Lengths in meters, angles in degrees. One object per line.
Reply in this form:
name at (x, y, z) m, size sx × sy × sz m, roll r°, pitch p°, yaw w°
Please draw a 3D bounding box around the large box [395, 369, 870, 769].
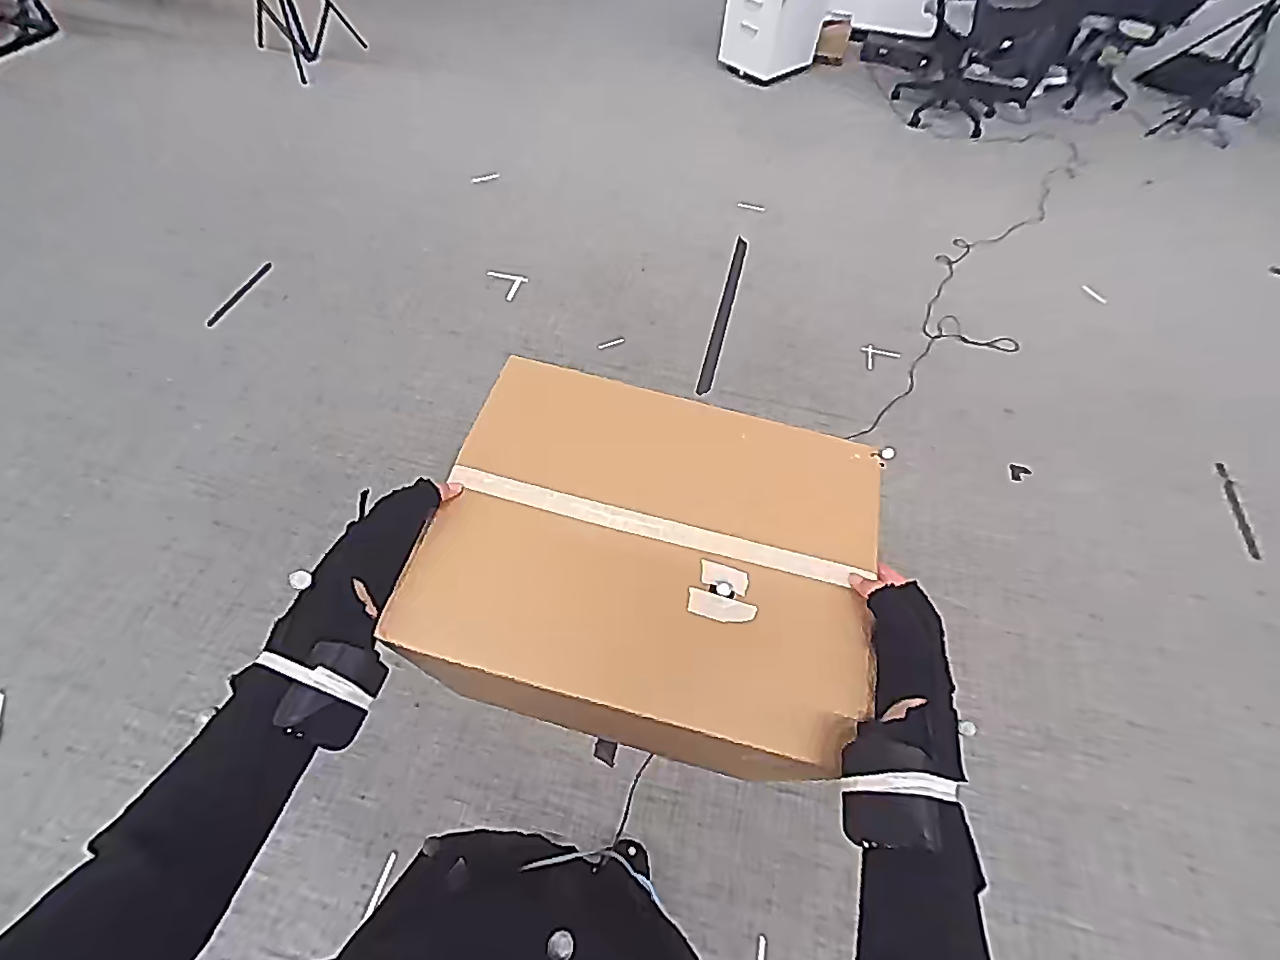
large box at (0.005, 0.123, 0.641) m, size 0.408 × 0.320 × 0.320 m, roll 15°, pitch 61°, yaw 2°
